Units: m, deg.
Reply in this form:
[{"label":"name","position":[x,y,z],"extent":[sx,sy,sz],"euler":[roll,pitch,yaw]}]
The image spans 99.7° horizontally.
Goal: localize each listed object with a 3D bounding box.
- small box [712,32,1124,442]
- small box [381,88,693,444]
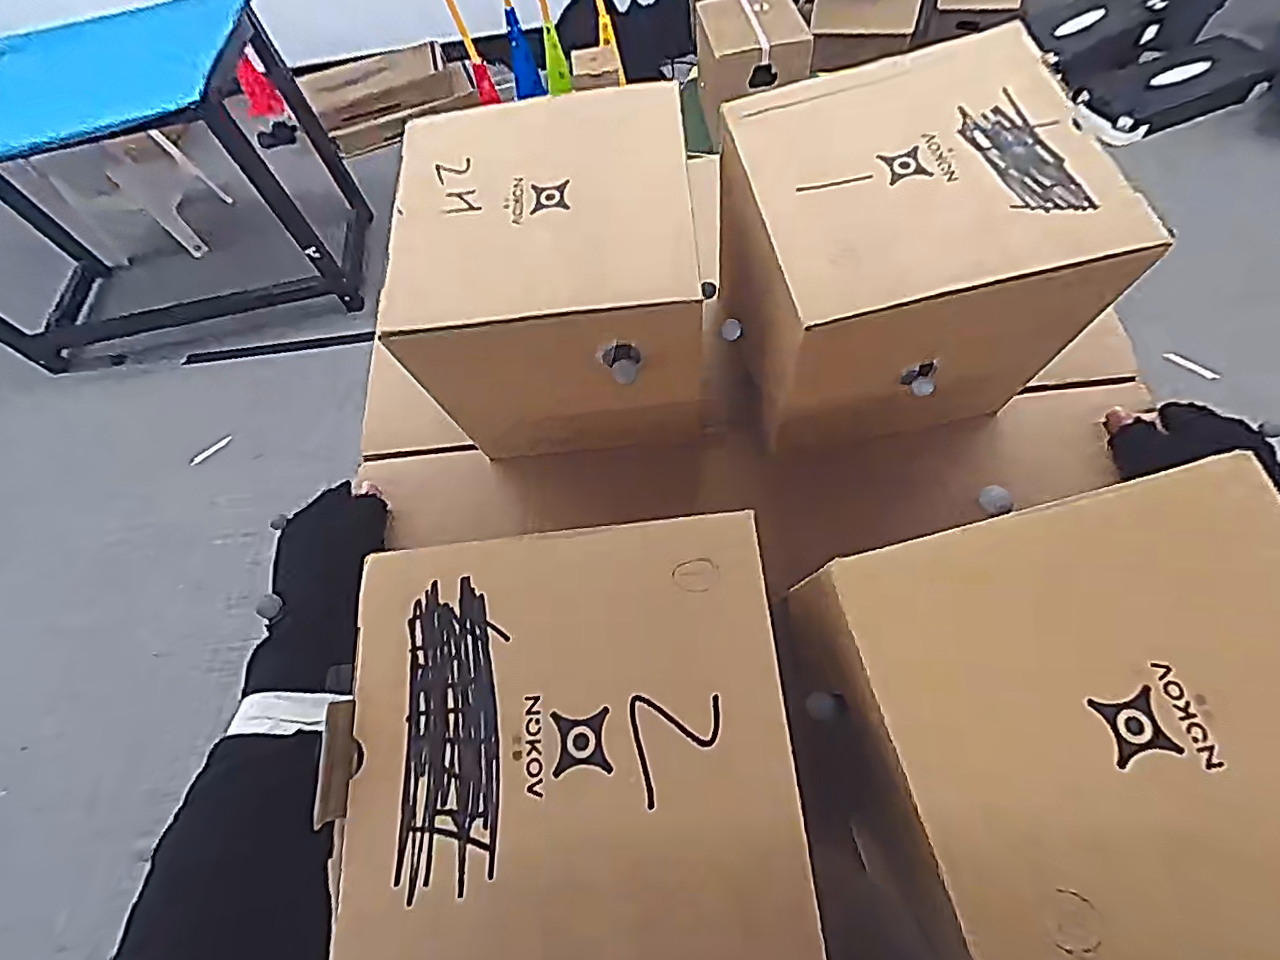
[{"label":"small box","position":[0.151,-0.145,0.371],"extent":[0.179,0.176,0.168],"euler":[-13,68,4]},{"label":"small box","position":[-0.053,-0.137,0.396],"extent":[0.179,0.176,0.168],"euler":[-4,68,6]}]
